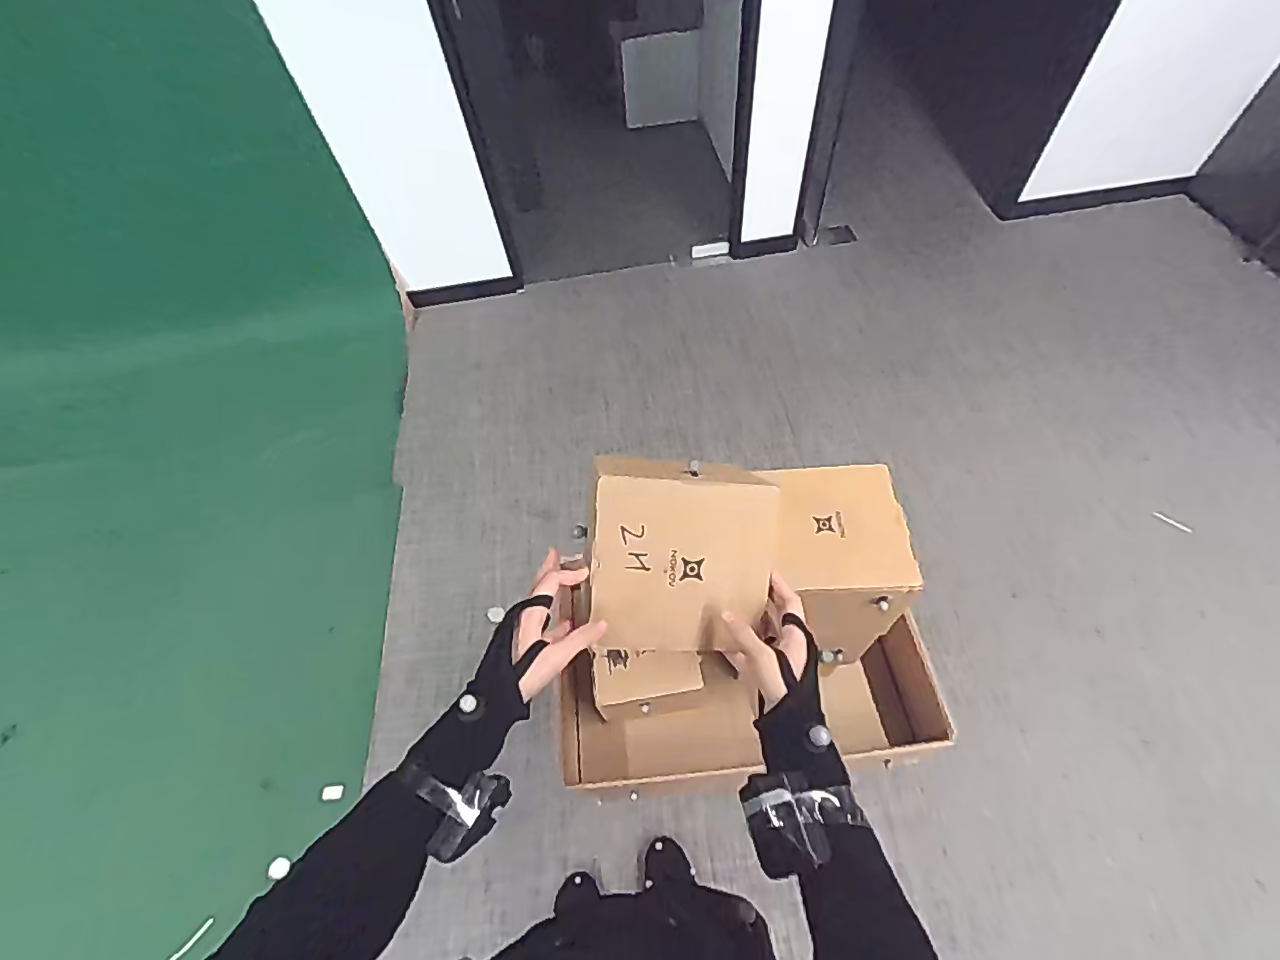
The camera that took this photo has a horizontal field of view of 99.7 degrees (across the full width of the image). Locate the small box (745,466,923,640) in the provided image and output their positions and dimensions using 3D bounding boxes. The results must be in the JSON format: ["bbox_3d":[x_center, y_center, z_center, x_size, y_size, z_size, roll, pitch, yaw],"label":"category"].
[{"bbox_3d":[0.228,0.100,0.695,0.179,0.176,0.168,-4,56,5],"label":"small box"}]

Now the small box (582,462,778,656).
[{"bbox_3d":[0.029,0.073,0.582,0.179,0.176,0.168,3,98,-6],"label":"small box"}]

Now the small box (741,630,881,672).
[{"bbox_3d":[0.241,0.189,0.829,0.179,0.176,0.168,-5,56,5],"label":"small box"}]
